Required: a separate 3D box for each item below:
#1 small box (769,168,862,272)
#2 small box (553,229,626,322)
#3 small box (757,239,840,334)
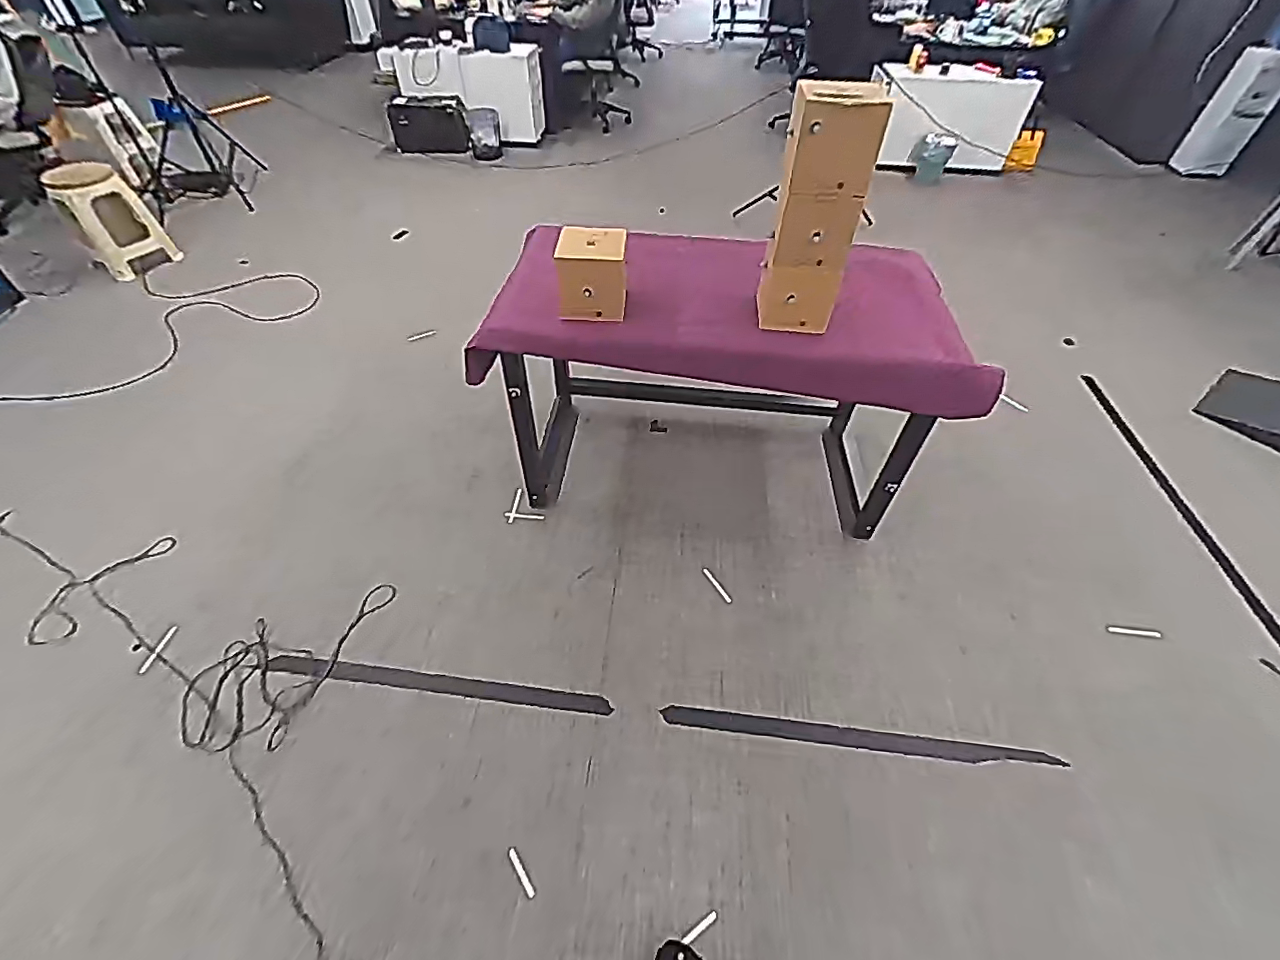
[{"bbox_3d":[0.400,-0.605,1.262,0.168,0.176,0.179,6,48,4],"label":"small box"},{"bbox_3d":[-0.123,-0.522,1.386,0.168,0.176,0.179,3,47,0],"label":"small box"},{"bbox_3d":[0.396,-0.492,1.380,0.168,0.176,0.179,5,47,3],"label":"small box"}]
